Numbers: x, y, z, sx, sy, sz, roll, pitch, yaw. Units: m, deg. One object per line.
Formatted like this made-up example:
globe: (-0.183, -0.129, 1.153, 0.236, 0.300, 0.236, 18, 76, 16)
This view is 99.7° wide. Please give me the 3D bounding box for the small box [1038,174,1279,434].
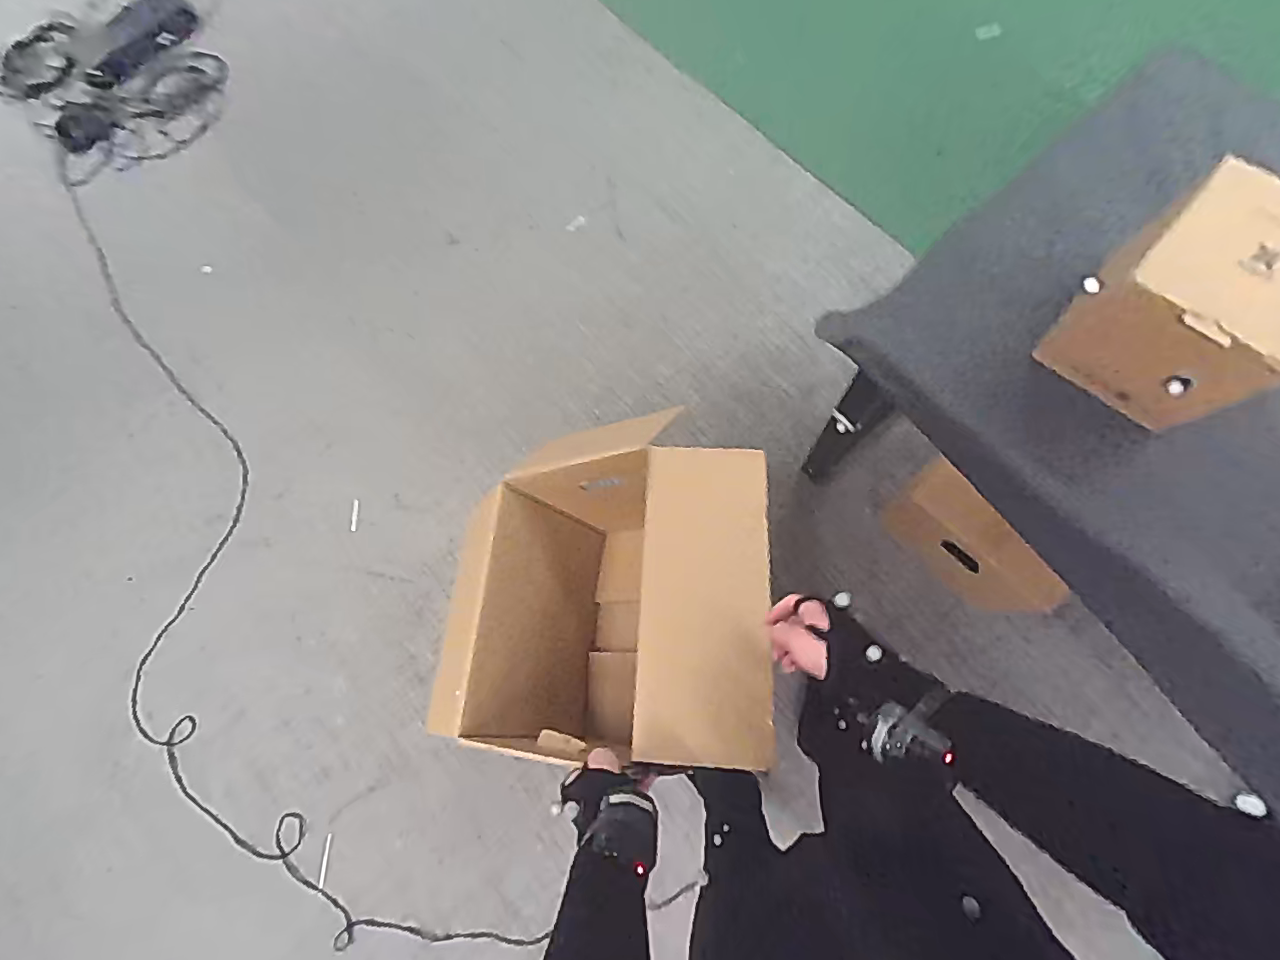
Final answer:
small box: (0.592, -0.178, 0.596, 0.168, 0.176, 0.179, 40, 82, 13)
